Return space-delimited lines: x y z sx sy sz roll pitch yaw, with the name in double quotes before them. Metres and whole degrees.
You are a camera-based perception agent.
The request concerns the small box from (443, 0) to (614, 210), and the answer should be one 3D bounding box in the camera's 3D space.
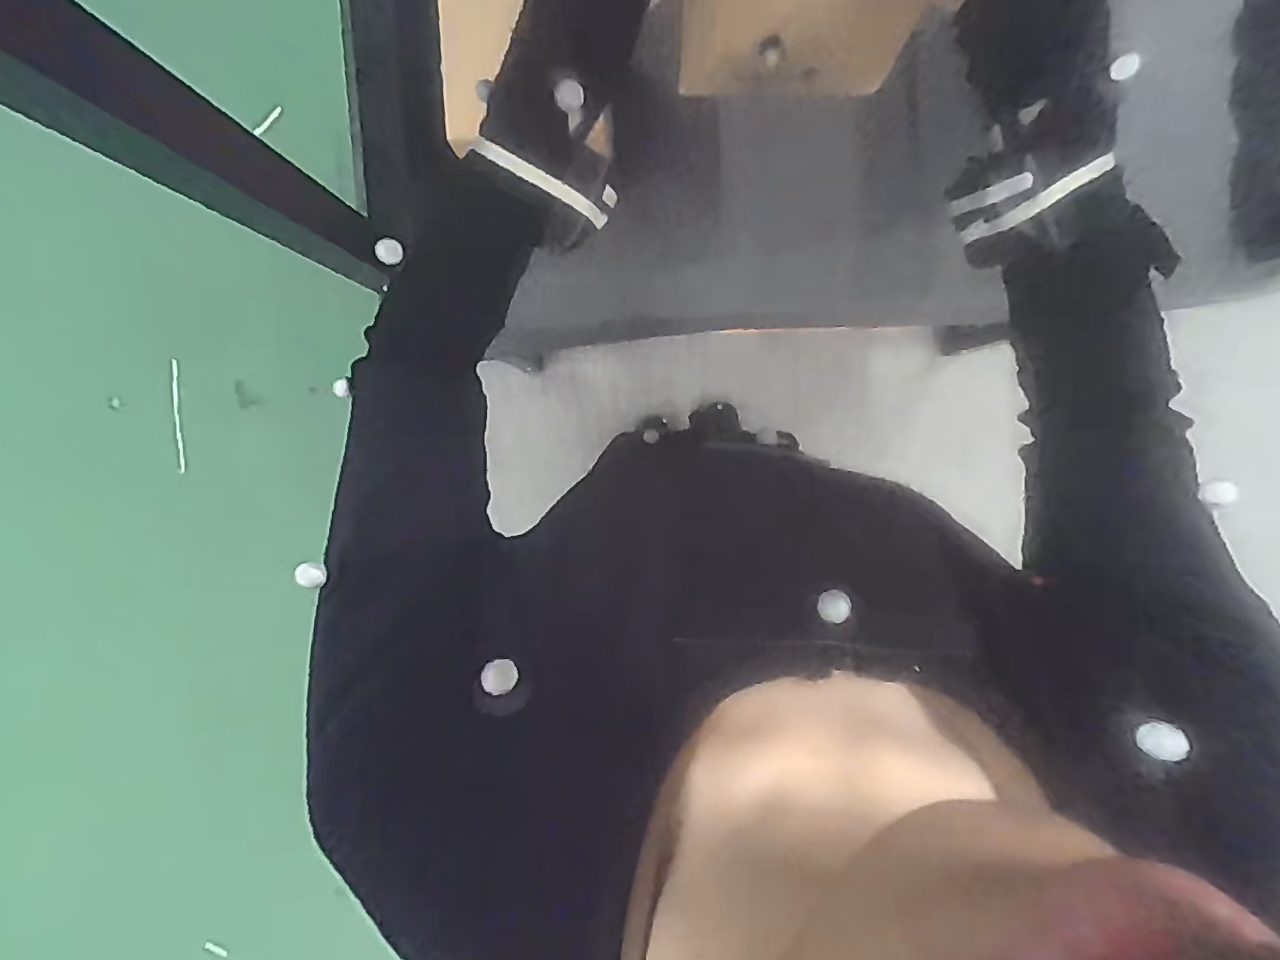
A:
"small box" -0.119 -0.444 0.636 0.168 0.176 0.179 -2 94 2
